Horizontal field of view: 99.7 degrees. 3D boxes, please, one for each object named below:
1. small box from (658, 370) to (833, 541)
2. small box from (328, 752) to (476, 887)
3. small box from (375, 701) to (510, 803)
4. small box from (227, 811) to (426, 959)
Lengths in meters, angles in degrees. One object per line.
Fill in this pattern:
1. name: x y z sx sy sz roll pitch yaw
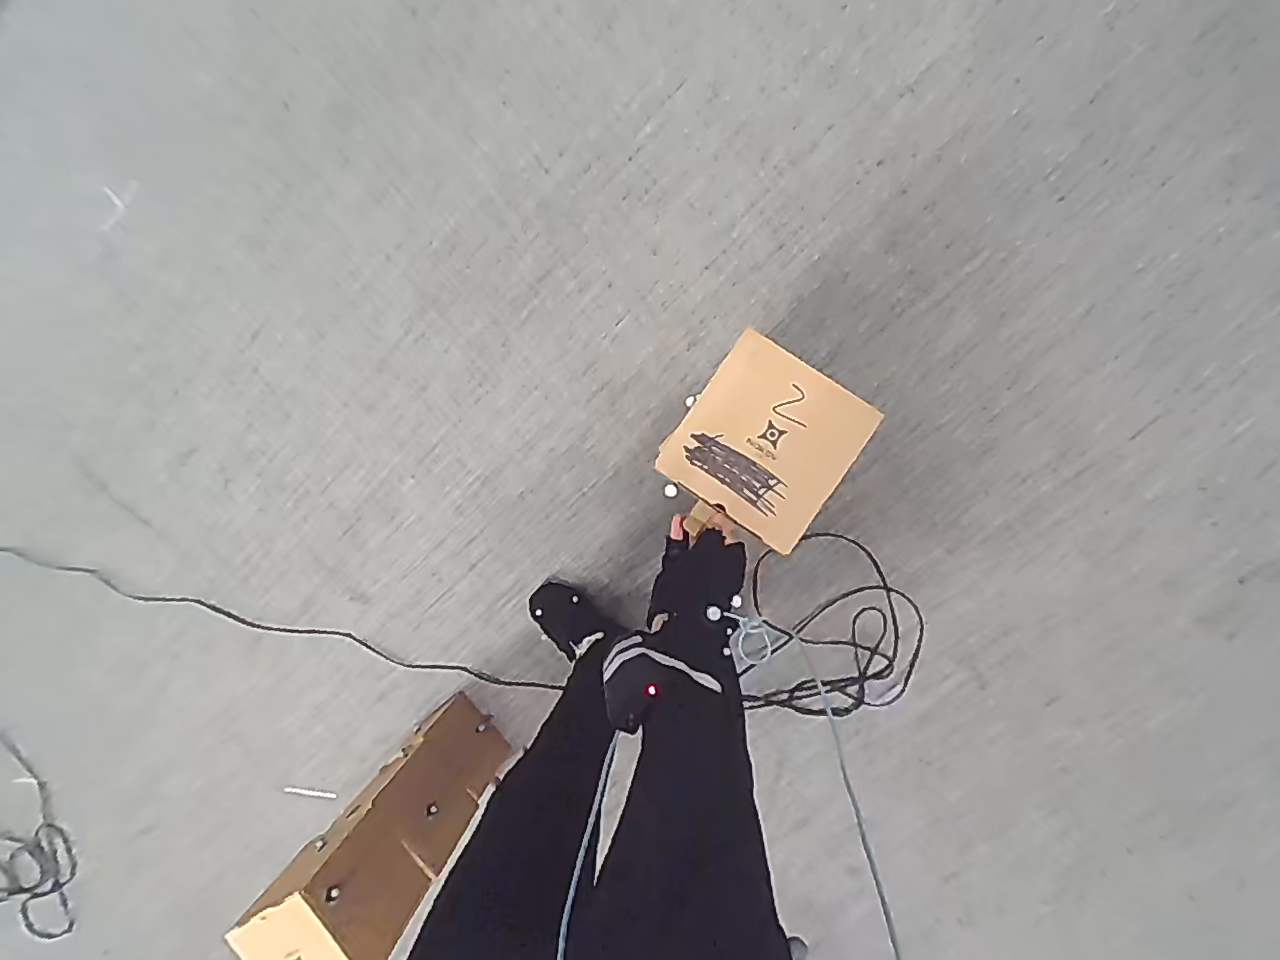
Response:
1. small box: 0.150 -0.041 0.804 0.179 0.176 0.168 46 103 -1
2. small box: -0.446 0.646 1.009 0.168 0.176 0.179 -39 93 13
3. small box: -0.420 0.612 1.171 0.168 0.176 0.179 -43 89 16
4. small box: -0.478 0.677 0.853 0.168 0.176 0.179 -34 92 13
